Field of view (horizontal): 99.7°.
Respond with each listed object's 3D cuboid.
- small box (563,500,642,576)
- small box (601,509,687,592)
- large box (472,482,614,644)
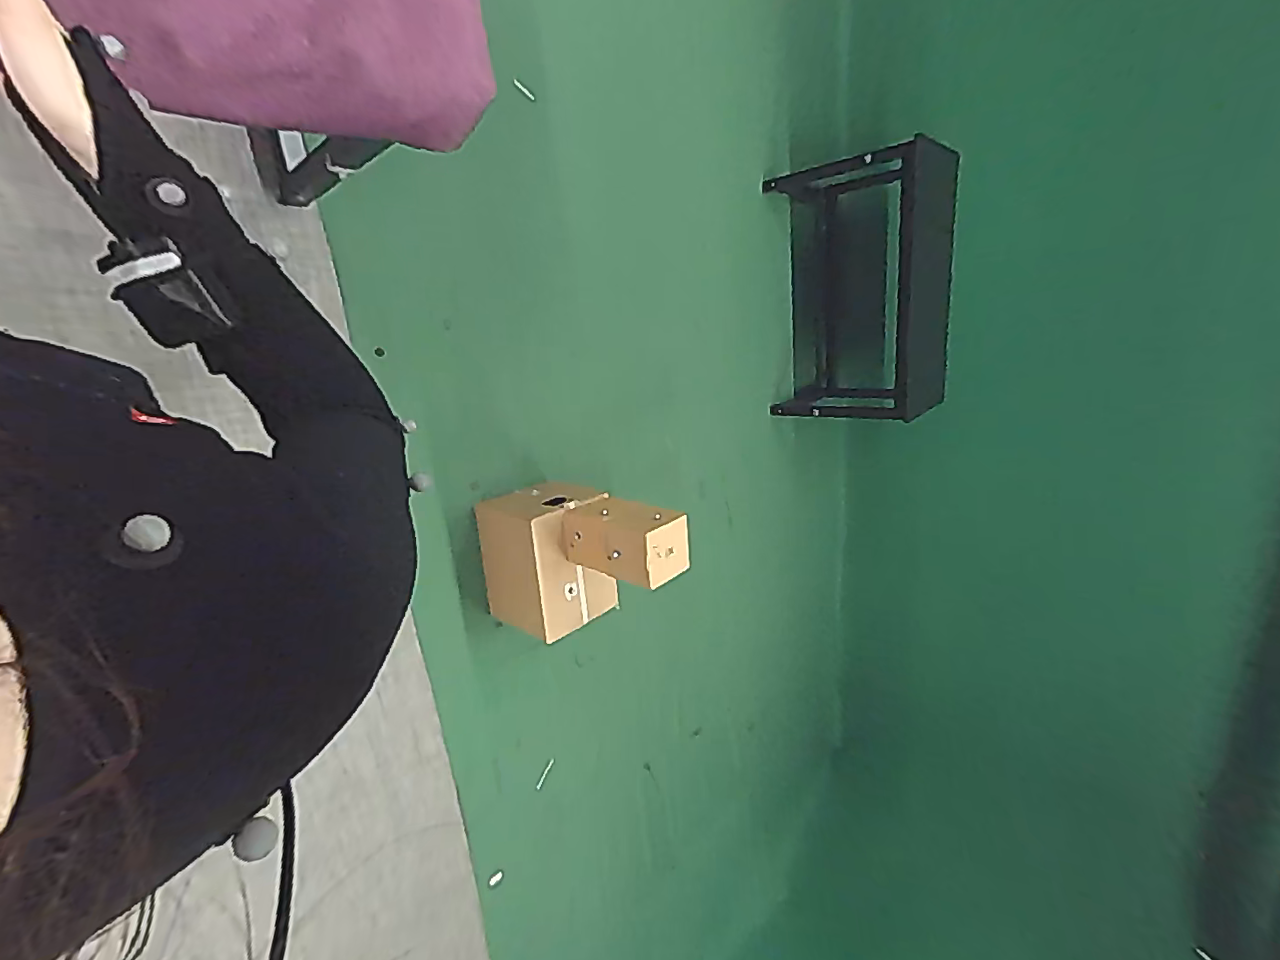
[{"bbox_3d":[-0.108,0.166,1.626,0.179,0.176,0.168,-19,111,-45],"label":"small box"},{"bbox_3d":[0.013,0.189,1.516,0.179,0.176,0.168,-20,112,-44],"label":"small box"},{"bbox_3d":[-0.313,0.252,1.778,0.320,0.320,0.408,-19,111,-44],"label":"large box"}]
